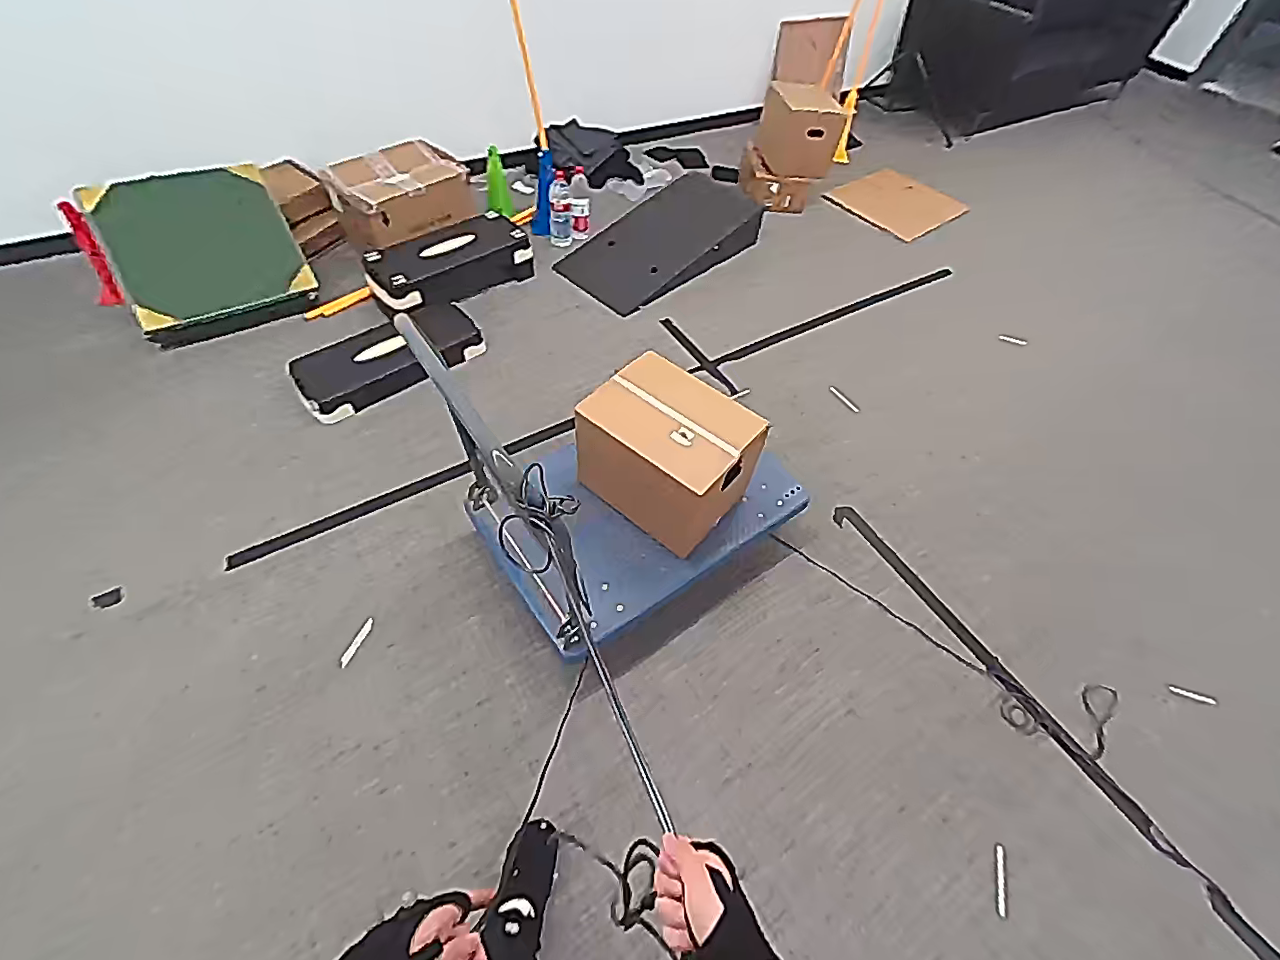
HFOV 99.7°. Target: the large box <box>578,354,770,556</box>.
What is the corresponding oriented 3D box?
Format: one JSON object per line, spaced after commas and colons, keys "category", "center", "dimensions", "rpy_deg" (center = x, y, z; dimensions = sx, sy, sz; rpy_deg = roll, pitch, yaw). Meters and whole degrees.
{"category": "large box", "center": [0.073, -0.070, 1.490], "dimensions": [0.408, 0.320, 0.320], "rpy_deg": [36, 59, 19]}
